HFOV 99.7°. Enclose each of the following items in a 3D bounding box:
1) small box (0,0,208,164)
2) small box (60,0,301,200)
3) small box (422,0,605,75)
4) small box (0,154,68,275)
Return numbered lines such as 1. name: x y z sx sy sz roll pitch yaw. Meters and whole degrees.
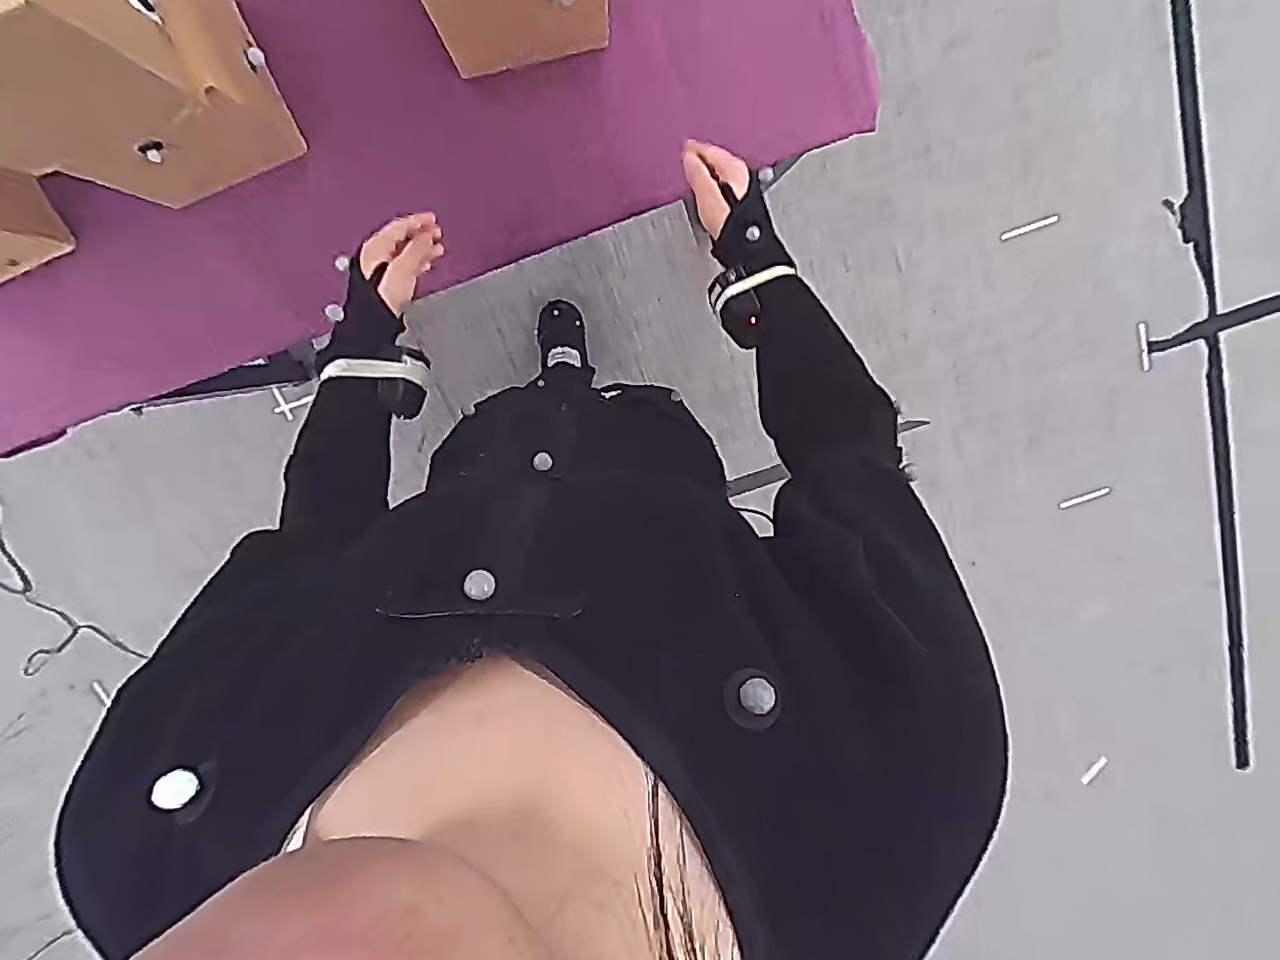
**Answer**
1. small box: -0.477 -0.356 0.384 0.179 0.176 0.168 -20 106 0
2. small box: -0.492 -0.407 0.538 0.179 0.176 0.168 -22 105 1
3. small box: -0.132 -0.540 0.528 0.179 0.176 0.168 -13 104 0
4. small box: -0.767 -0.303 0.546 0.168 0.176 0.179 -23 104 2
